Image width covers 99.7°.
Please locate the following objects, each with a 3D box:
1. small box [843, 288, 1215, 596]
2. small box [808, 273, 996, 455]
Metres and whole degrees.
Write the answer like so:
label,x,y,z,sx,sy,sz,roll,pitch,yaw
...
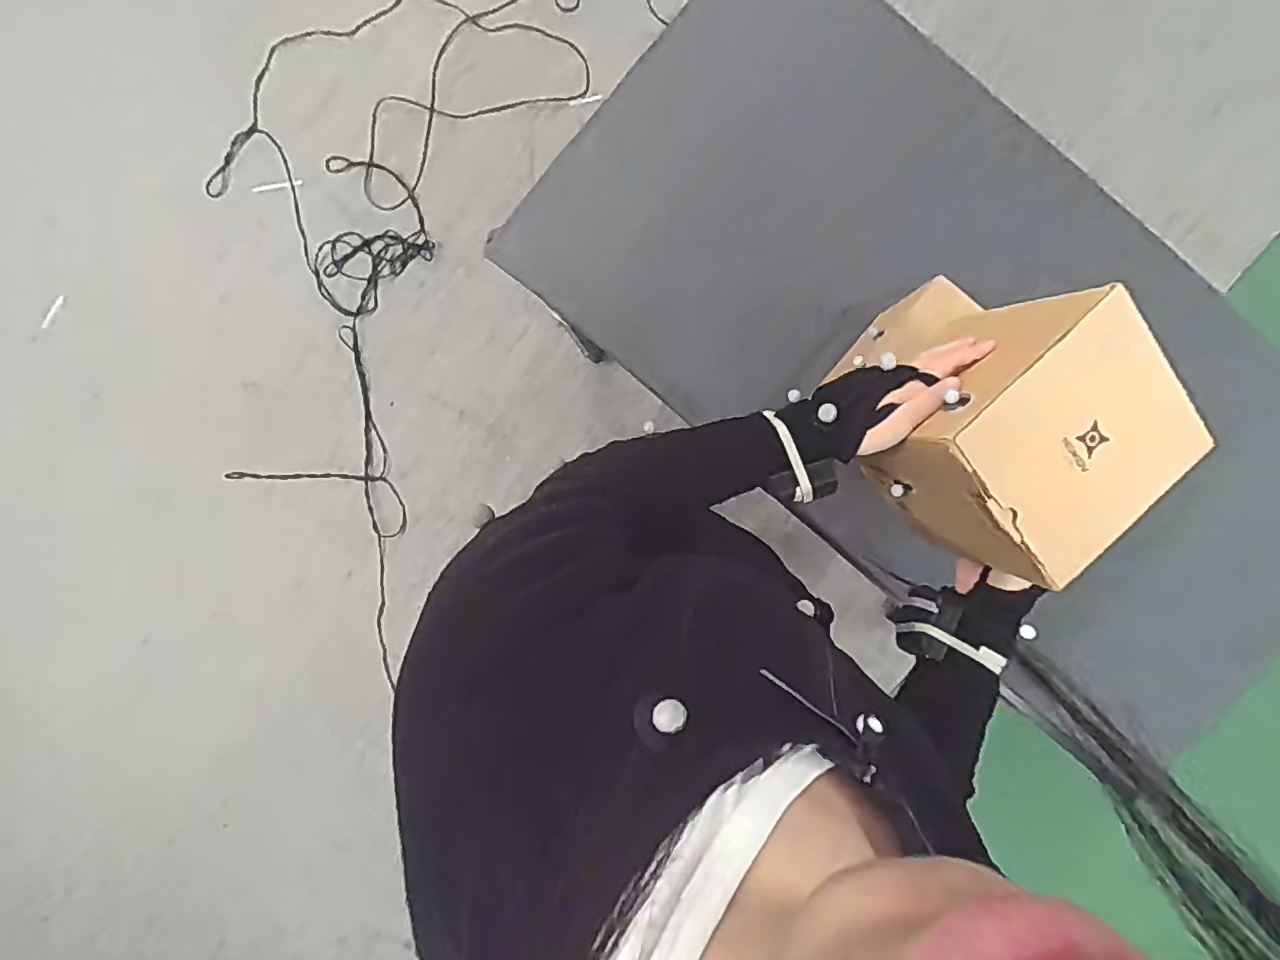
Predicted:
label,x,y,z,sx,sy,sz,roll,pitch,yaw
small box,0.322,-0.037,0.480,0.179,0.176,0.168,-43,103,-1
small box,0.334,-0.109,0.662,0.168,0.176,0.179,40,92,1
